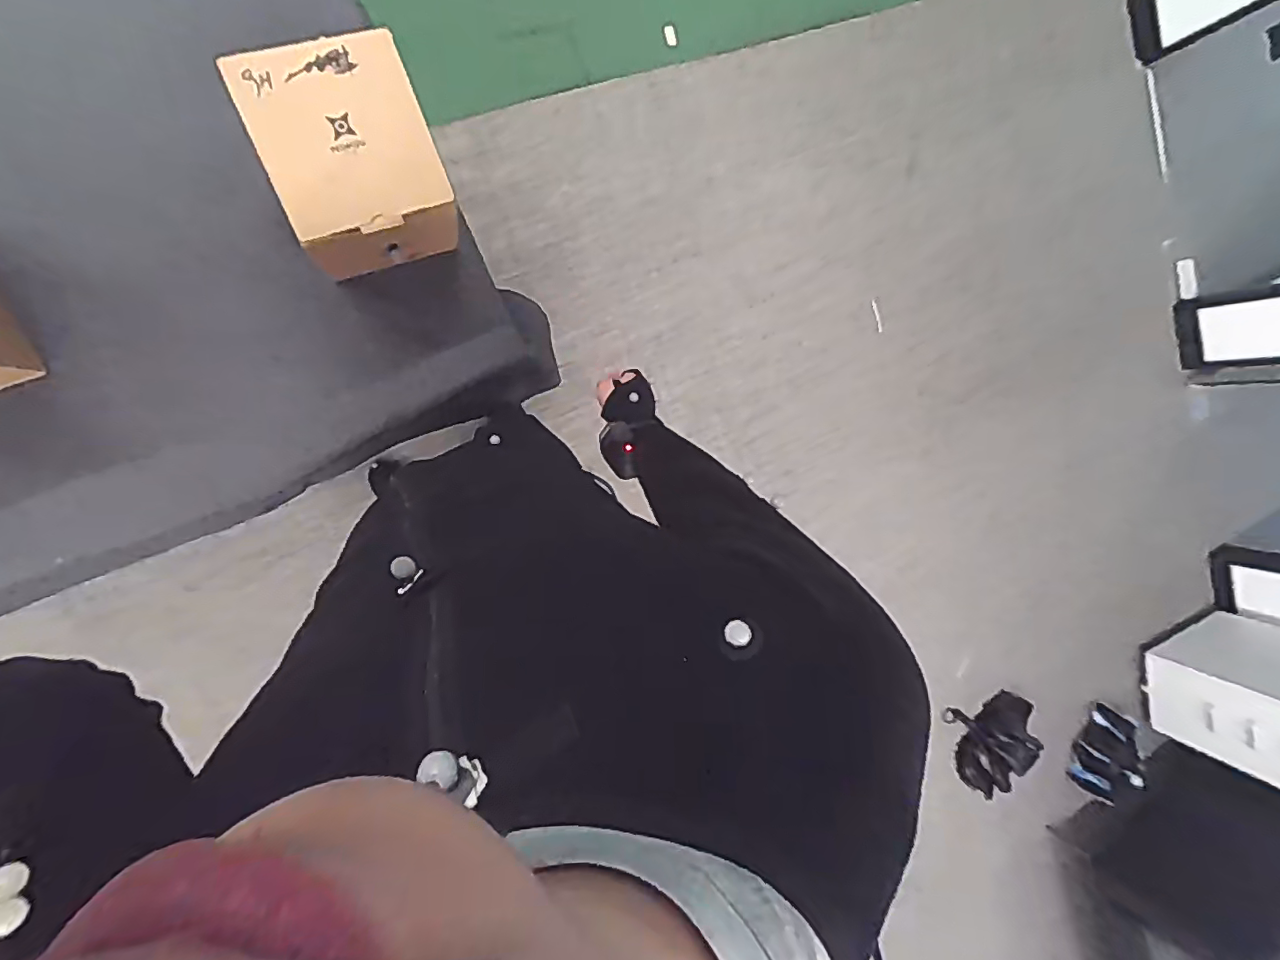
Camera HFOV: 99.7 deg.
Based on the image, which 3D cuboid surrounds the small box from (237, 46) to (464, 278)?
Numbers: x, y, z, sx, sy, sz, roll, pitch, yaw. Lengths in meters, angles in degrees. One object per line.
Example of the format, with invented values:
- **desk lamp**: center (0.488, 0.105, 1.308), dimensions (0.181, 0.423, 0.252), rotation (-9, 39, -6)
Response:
- **small box**: center (-0.316, -0.352, 0.637), dimensions (0.168, 0.176, 0.179), rotation (-23, 104, -14)
